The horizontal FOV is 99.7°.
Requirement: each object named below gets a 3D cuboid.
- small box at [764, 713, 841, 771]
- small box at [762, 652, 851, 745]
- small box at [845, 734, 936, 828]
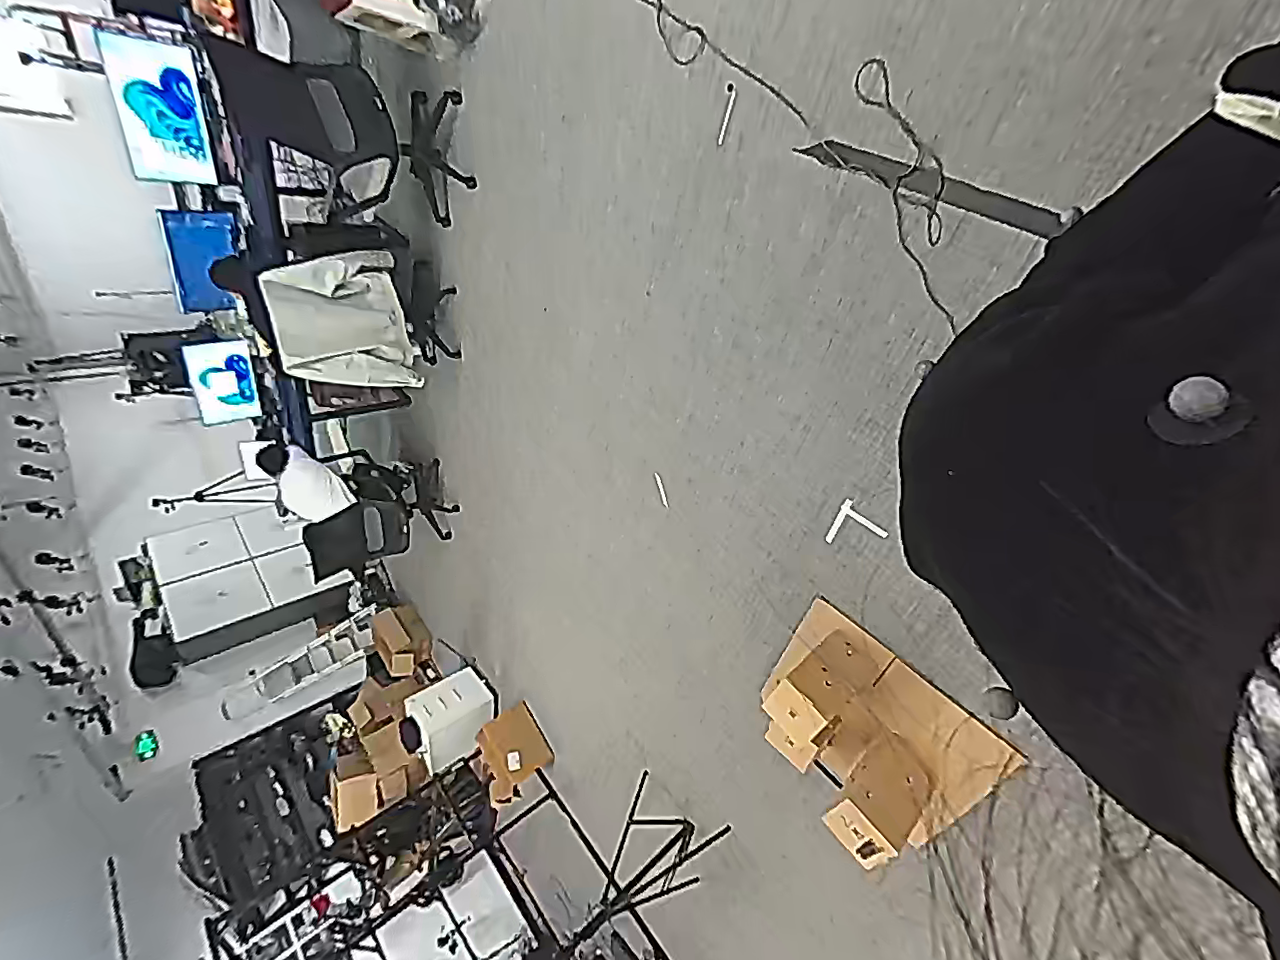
[{"bbox_3d":[0.583,0.886,1.940,0.179,0.176,0.168,37,131,34],"label":"small box"},{"bbox_3d":[0.516,0.671,1.670,0.168,0.176,0.179,43,132,28],"label":"small box"},{"bbox_3d":[0.800,0.952,1.719,0.179,0.176,0.168,47,134,23],"label":"small box"}]
